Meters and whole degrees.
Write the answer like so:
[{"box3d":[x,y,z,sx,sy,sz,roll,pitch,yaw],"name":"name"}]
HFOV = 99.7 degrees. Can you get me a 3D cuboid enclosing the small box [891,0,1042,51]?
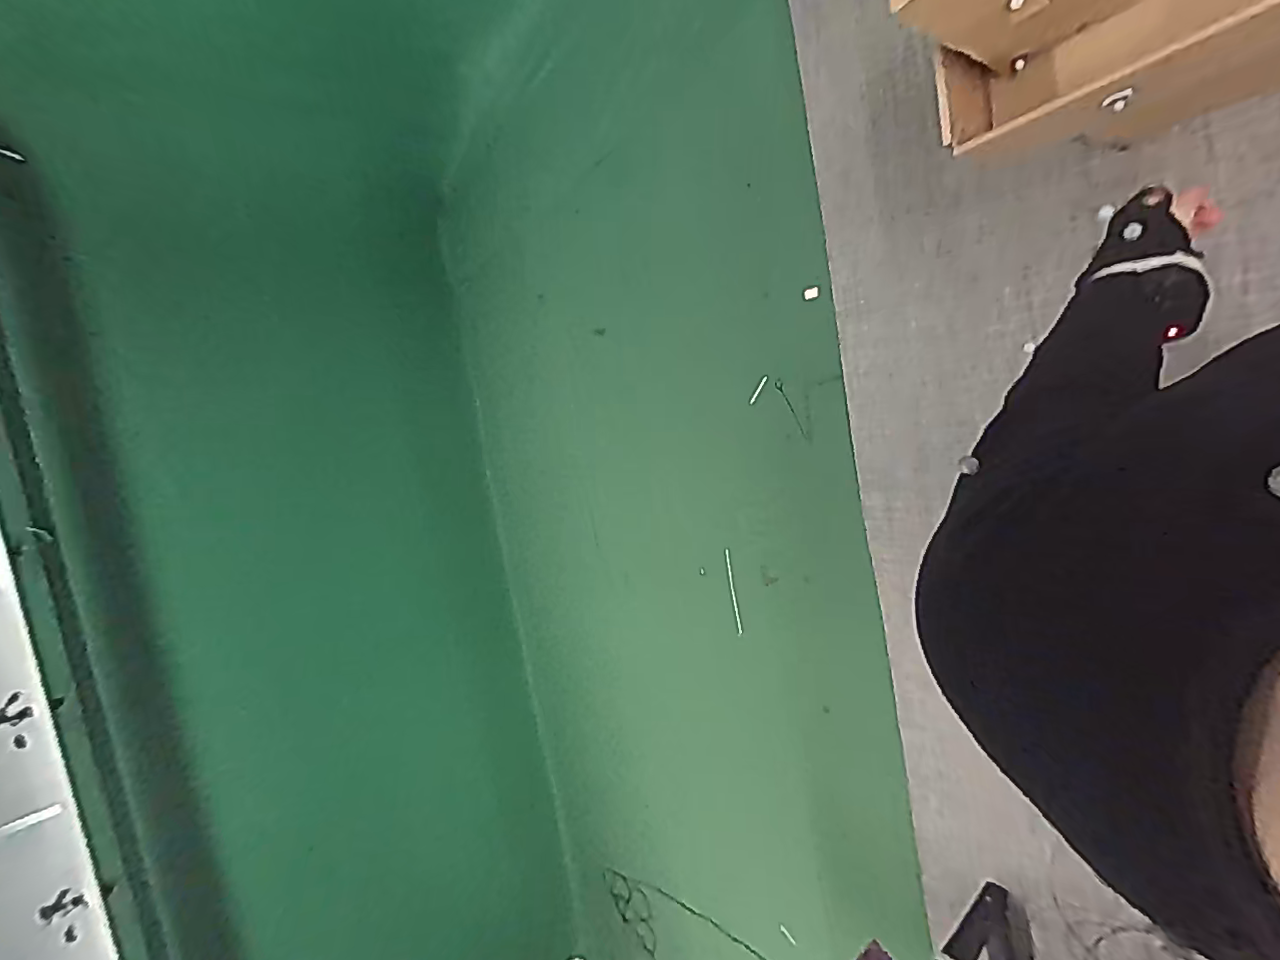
[{"box3d":[0.405,-0.650,0.620,0.179,0.176,0.168,-4,97,54],"name":"small box"}]
